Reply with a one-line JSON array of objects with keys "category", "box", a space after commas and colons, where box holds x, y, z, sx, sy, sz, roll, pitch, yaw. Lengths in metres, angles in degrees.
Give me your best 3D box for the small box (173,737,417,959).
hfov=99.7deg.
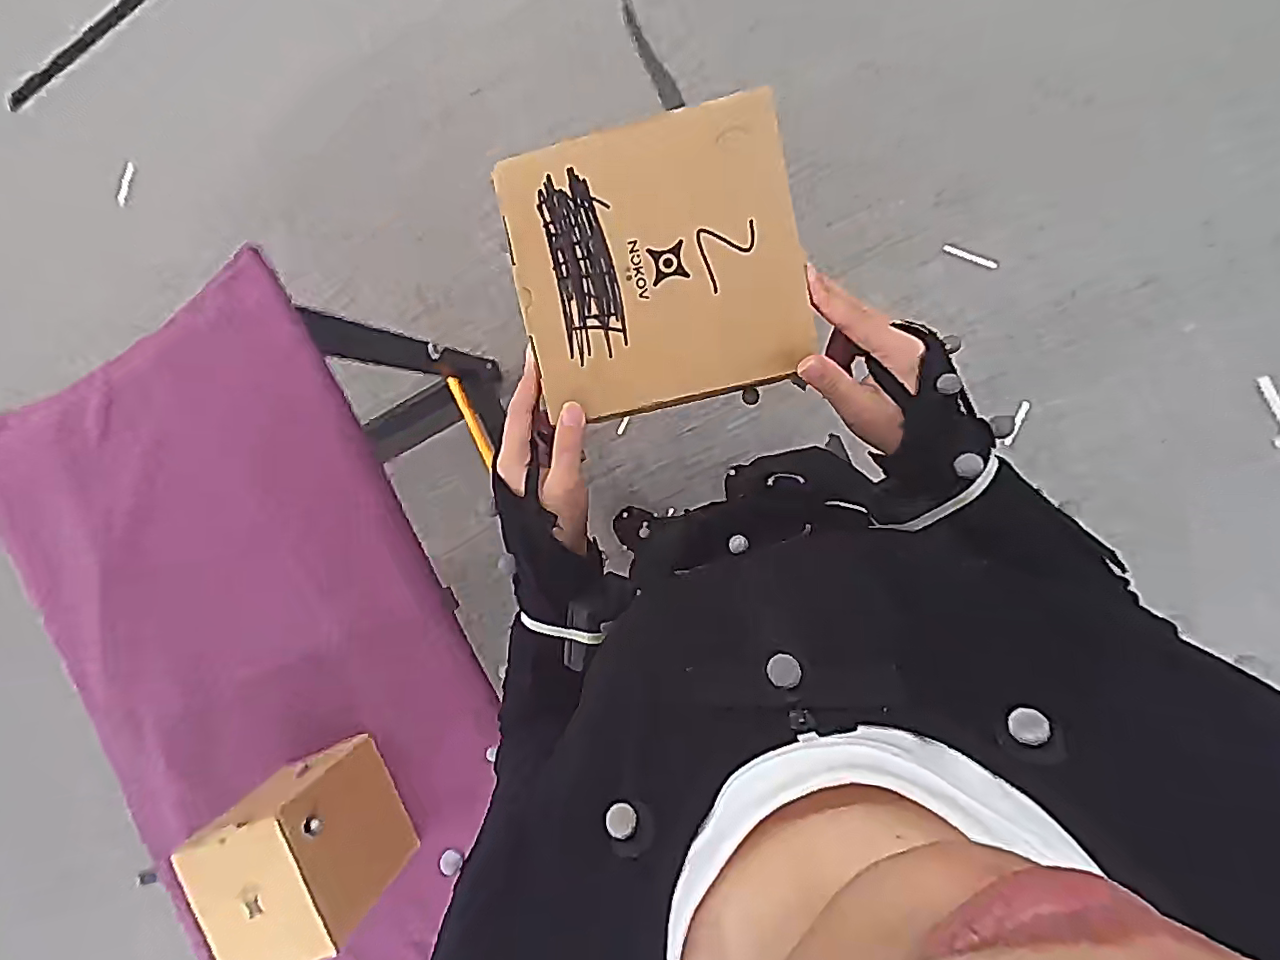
[{"category": "small box", "box": [-0.424, 0.473, 0.695, 0.168, 0.176, 0.179, -26, 89, 11]}]
